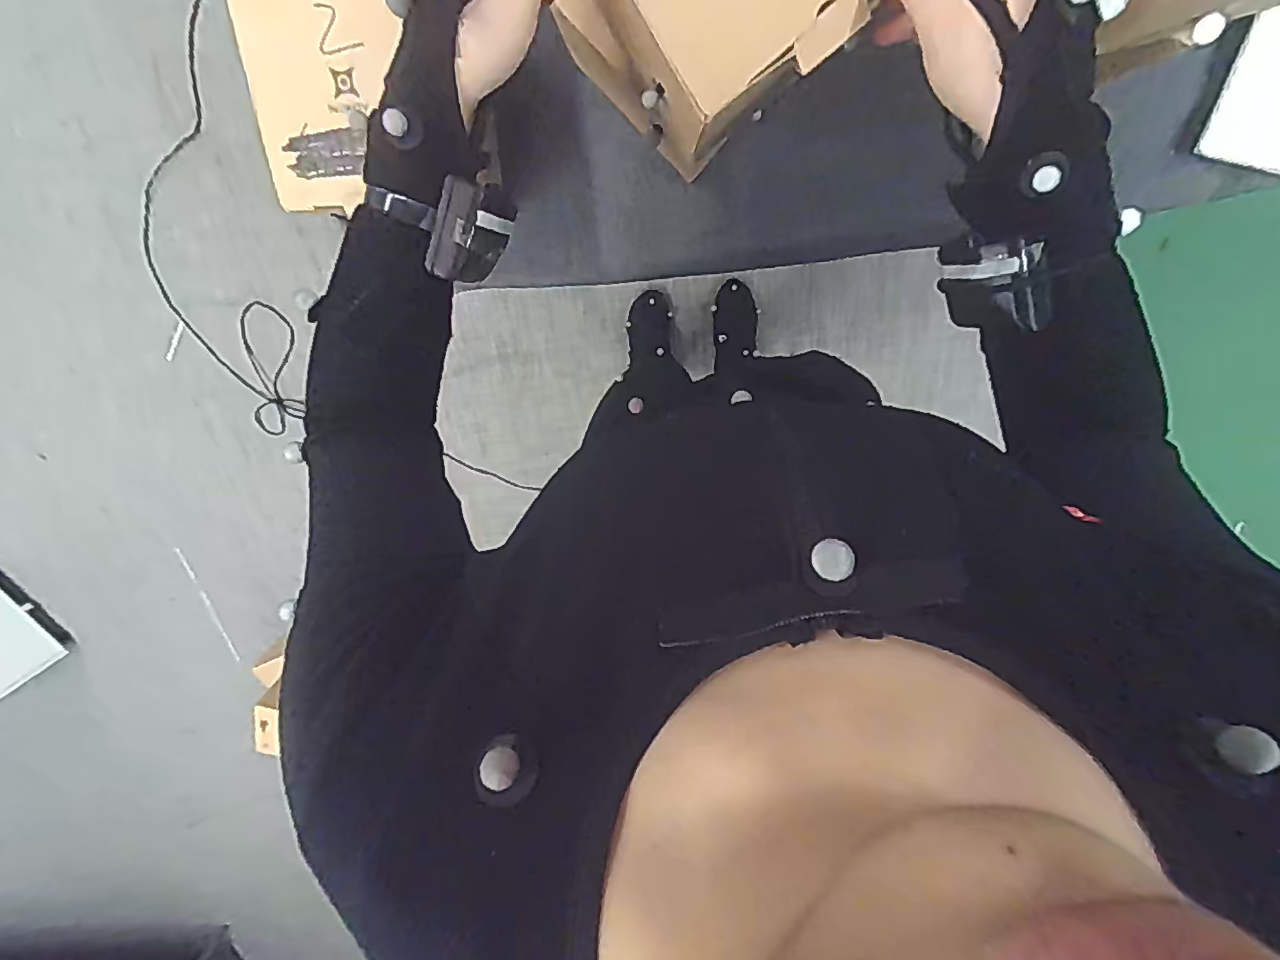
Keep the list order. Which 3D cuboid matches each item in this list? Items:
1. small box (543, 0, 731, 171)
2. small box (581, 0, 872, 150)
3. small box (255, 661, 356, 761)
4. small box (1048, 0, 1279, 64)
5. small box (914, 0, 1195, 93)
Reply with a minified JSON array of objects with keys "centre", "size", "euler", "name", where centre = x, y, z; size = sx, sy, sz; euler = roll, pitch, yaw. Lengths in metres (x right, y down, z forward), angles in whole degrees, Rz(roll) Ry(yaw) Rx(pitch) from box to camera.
[{"centre":[0.041,-0.416,0.497],"size":[0.179,0.176,0.168],"euler":[40,108,-13],"name":"small box"},{"centre":[0.052,-0.347,0.349],"size":[0.168,0.176,0.179],"euler":[-35,107,14],"name":"small box"},{"centre":[-0.882,0.608,1.438],"size":[0.179,0.176,0.168],"euler":[13,112,-5],"name":"small box"},{"centre":[0.375,-0.388,0.312],"size":[0.168,0.176,0.179],"euler":[-10,111,8],"name":"small box"},{"centre":[0.379,-0.465,0.459],"size":[0.179,0.176,0.168],"euler":[22,112,-5],"name":"small box"}]
